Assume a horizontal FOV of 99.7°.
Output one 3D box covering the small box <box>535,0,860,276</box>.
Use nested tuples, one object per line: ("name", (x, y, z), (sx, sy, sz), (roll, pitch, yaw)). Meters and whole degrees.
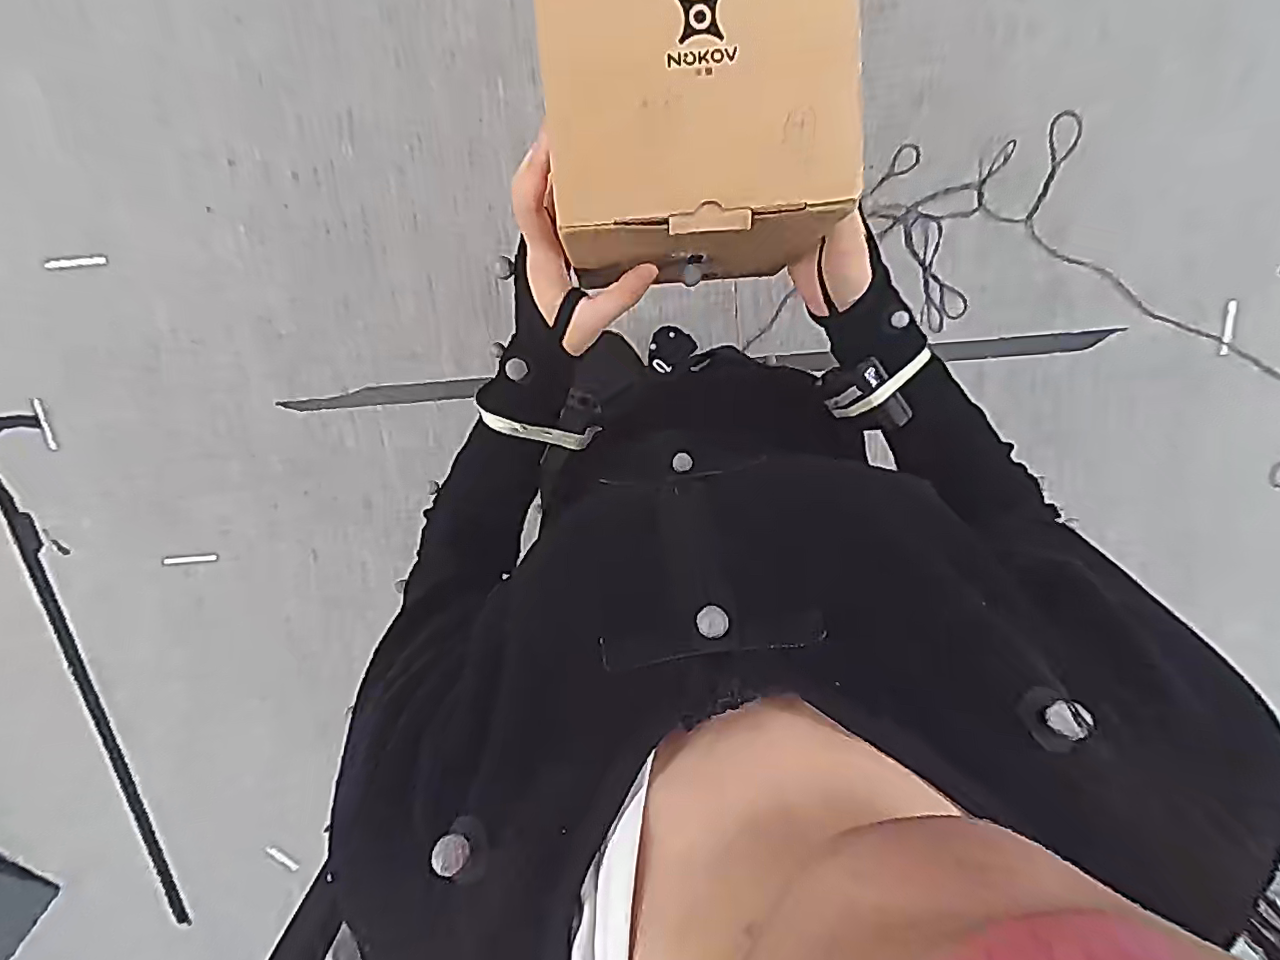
("small box", (0.029, -0.239, 0.354), (0.168, 0.176, 0.179), (-5, 99, 0))
